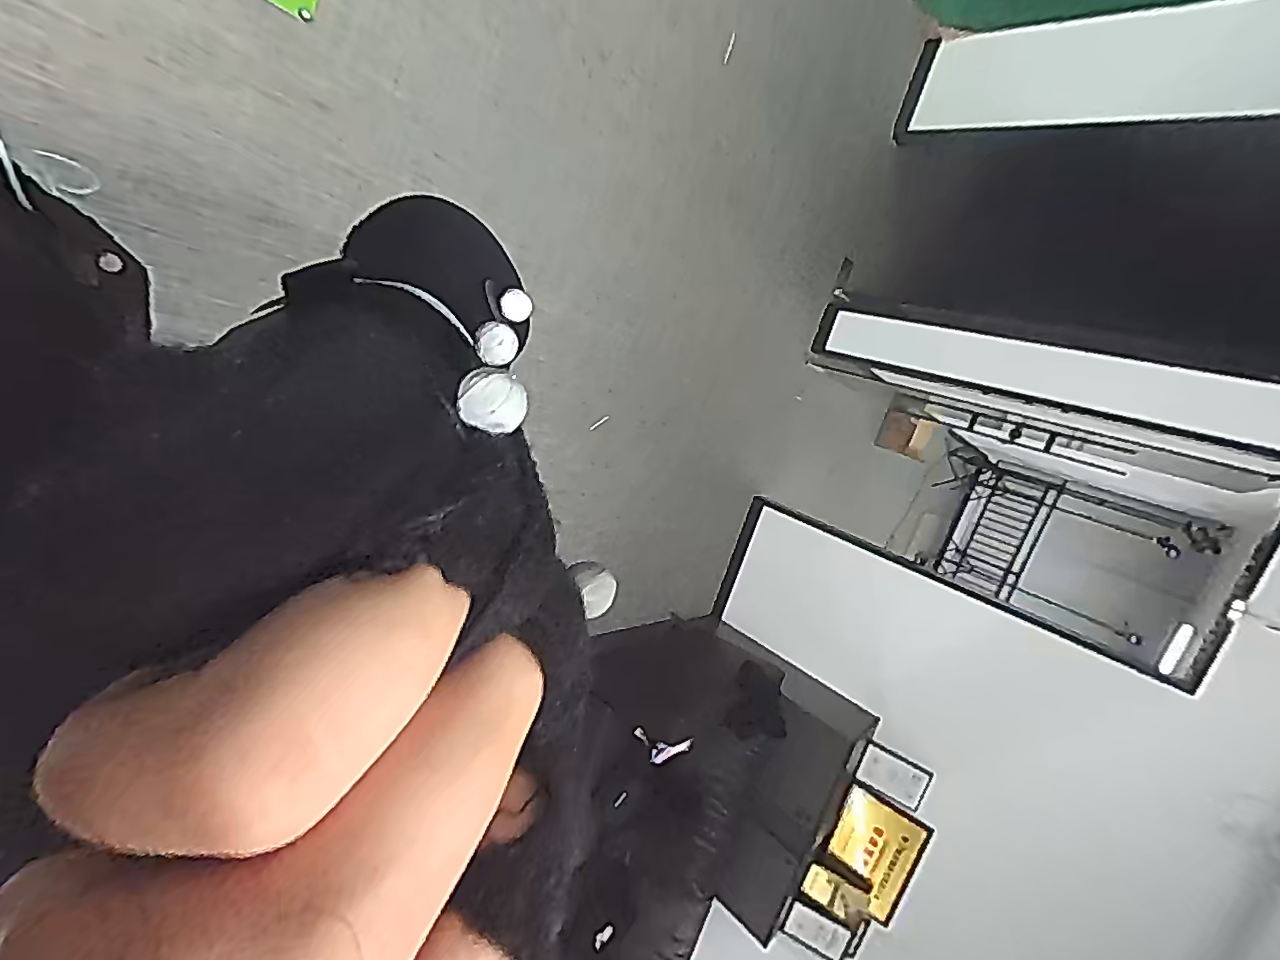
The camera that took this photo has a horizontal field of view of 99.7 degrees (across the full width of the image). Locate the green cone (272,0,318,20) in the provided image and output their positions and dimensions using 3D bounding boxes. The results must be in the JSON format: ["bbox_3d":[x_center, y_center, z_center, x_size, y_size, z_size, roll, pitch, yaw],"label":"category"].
[{"bbox_3d":[-0.586,-0.970,0.906,0.202,0.368,0.200,4,107,-49],"label":"green cone"}]
